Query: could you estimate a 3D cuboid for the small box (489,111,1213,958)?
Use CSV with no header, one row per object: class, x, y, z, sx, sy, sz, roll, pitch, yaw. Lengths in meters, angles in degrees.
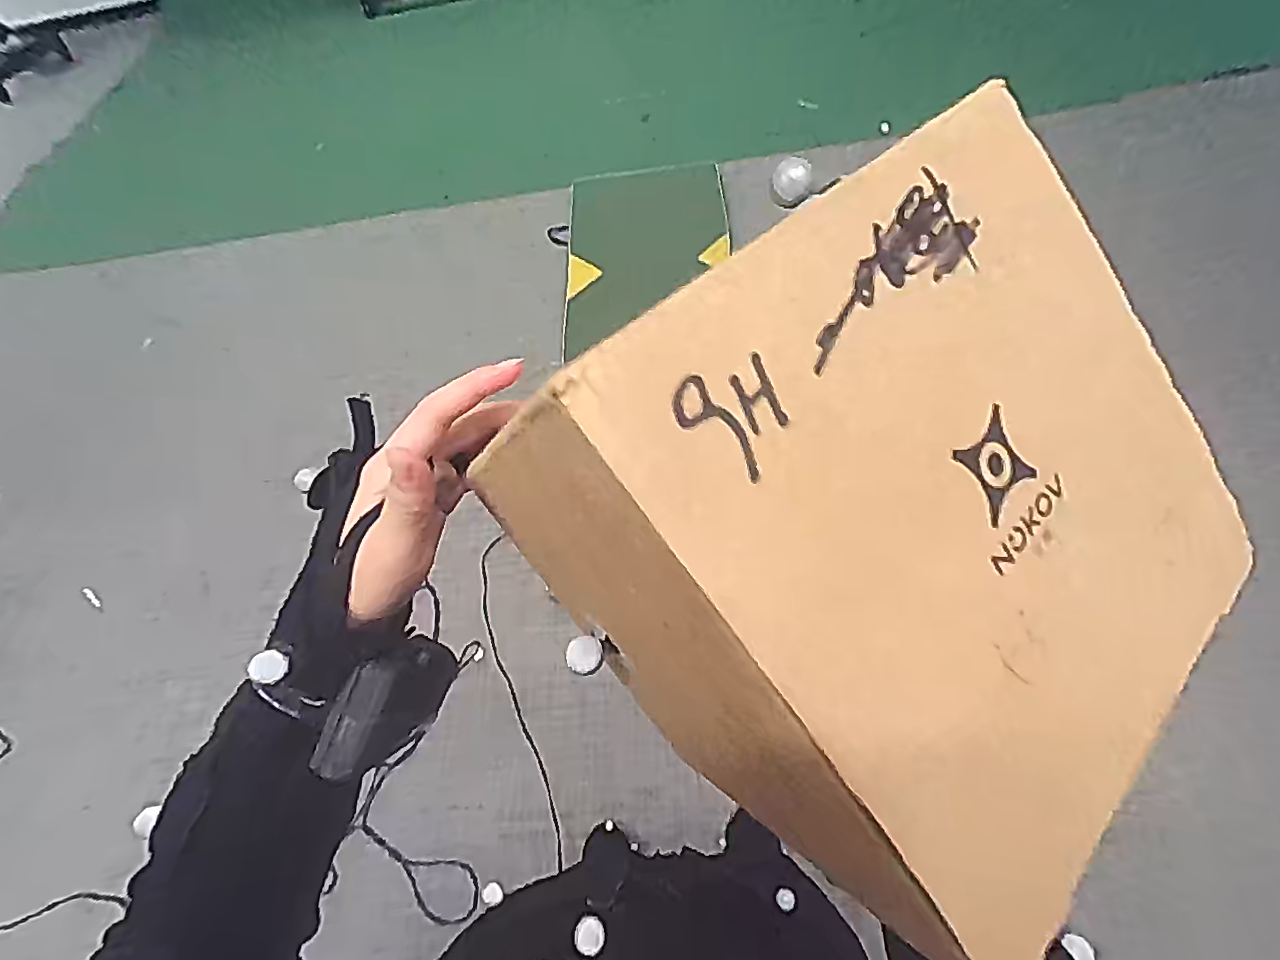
small box,0.062,0.010,0.221,0.168,0.176,0.179,-38,99,-22
